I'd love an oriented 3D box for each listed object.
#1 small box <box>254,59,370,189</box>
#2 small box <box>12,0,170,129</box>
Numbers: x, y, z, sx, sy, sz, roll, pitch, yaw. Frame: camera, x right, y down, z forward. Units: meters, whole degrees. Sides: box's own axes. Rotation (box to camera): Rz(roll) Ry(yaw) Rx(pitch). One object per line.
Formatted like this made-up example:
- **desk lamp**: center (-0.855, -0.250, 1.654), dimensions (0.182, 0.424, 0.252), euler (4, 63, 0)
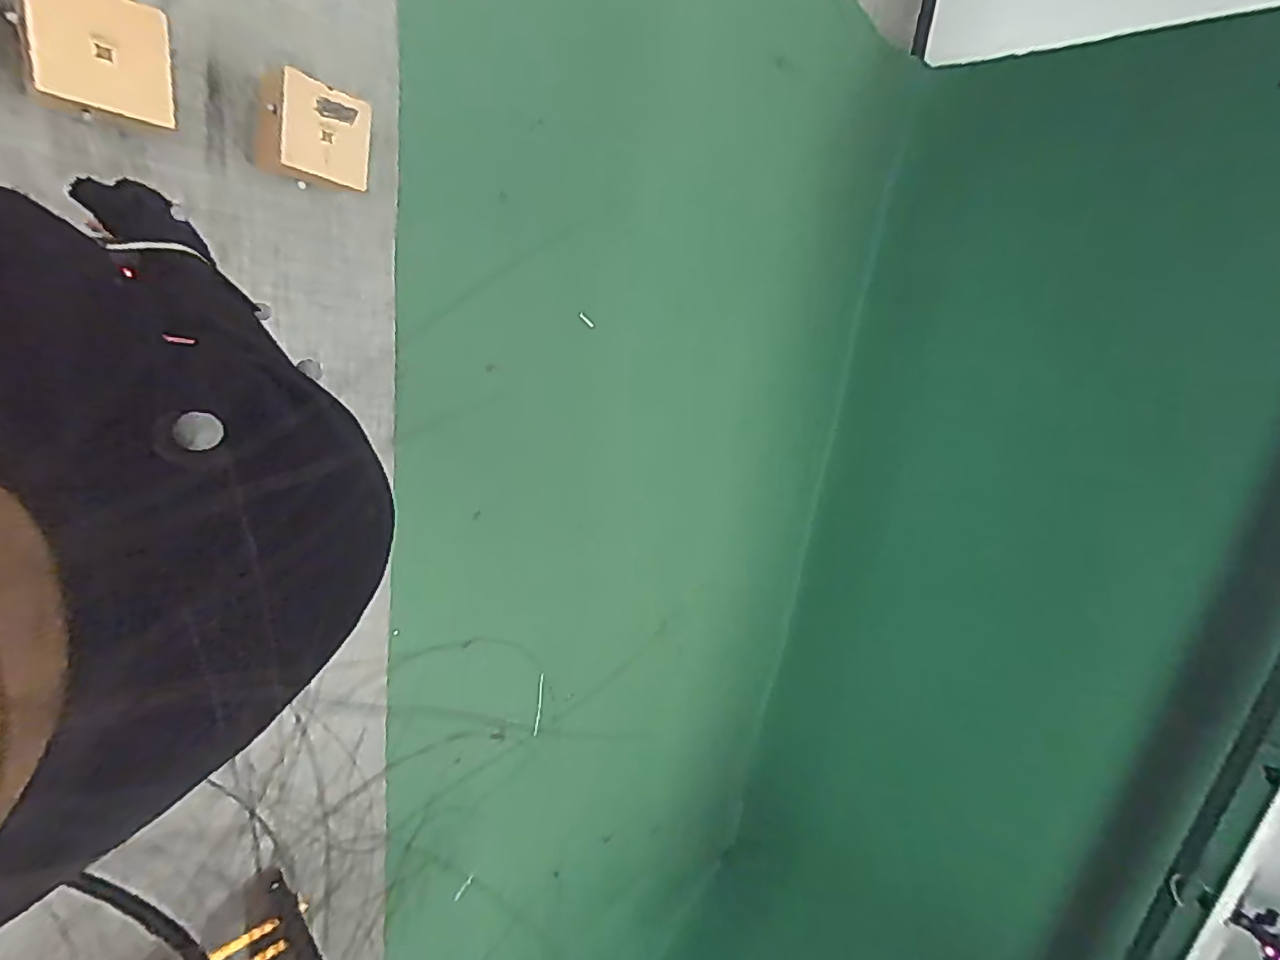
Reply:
- **small box**: center (-0.696, -0.739, 1.145), dimensions (0.168, 0.176, 0.179), euler (-4, 110, -49)
- **small box**: center (-0.909, -0.713, 0.899), dimensions (0.168, 0.176, 0.179), euler (-10, 113, -49)
